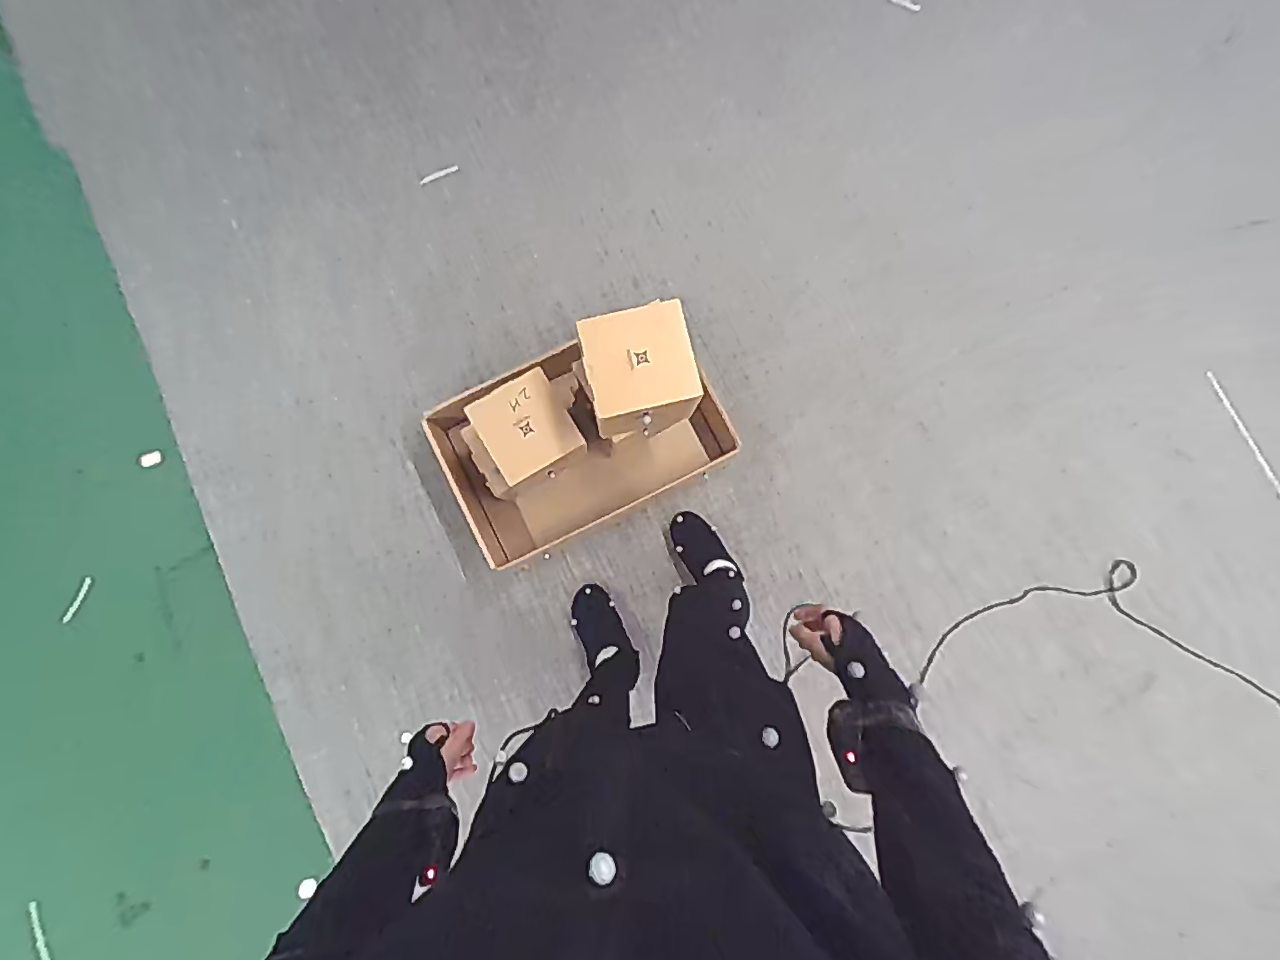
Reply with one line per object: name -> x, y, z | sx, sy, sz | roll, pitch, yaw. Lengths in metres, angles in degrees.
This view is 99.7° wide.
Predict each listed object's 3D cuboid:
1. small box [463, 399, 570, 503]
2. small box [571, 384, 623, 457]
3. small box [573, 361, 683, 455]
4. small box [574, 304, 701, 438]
small box -> -0.276, -0.059, 1.253 | 0.179, 0.176, 0.168 | -29, 86, -7
small box -> -0.038, -0.170, 1.269 | 0.179, 0.176, 0.168 | -34, 85, -3
small box -> -0.019, -0.171, 1.105 | 0.168, 0.176, 0.179 | -29, 85, -2
small box -> -0.006, -0.181, 0.942 | 0.179, 0.176, 0.168 | -14, 85, -1
